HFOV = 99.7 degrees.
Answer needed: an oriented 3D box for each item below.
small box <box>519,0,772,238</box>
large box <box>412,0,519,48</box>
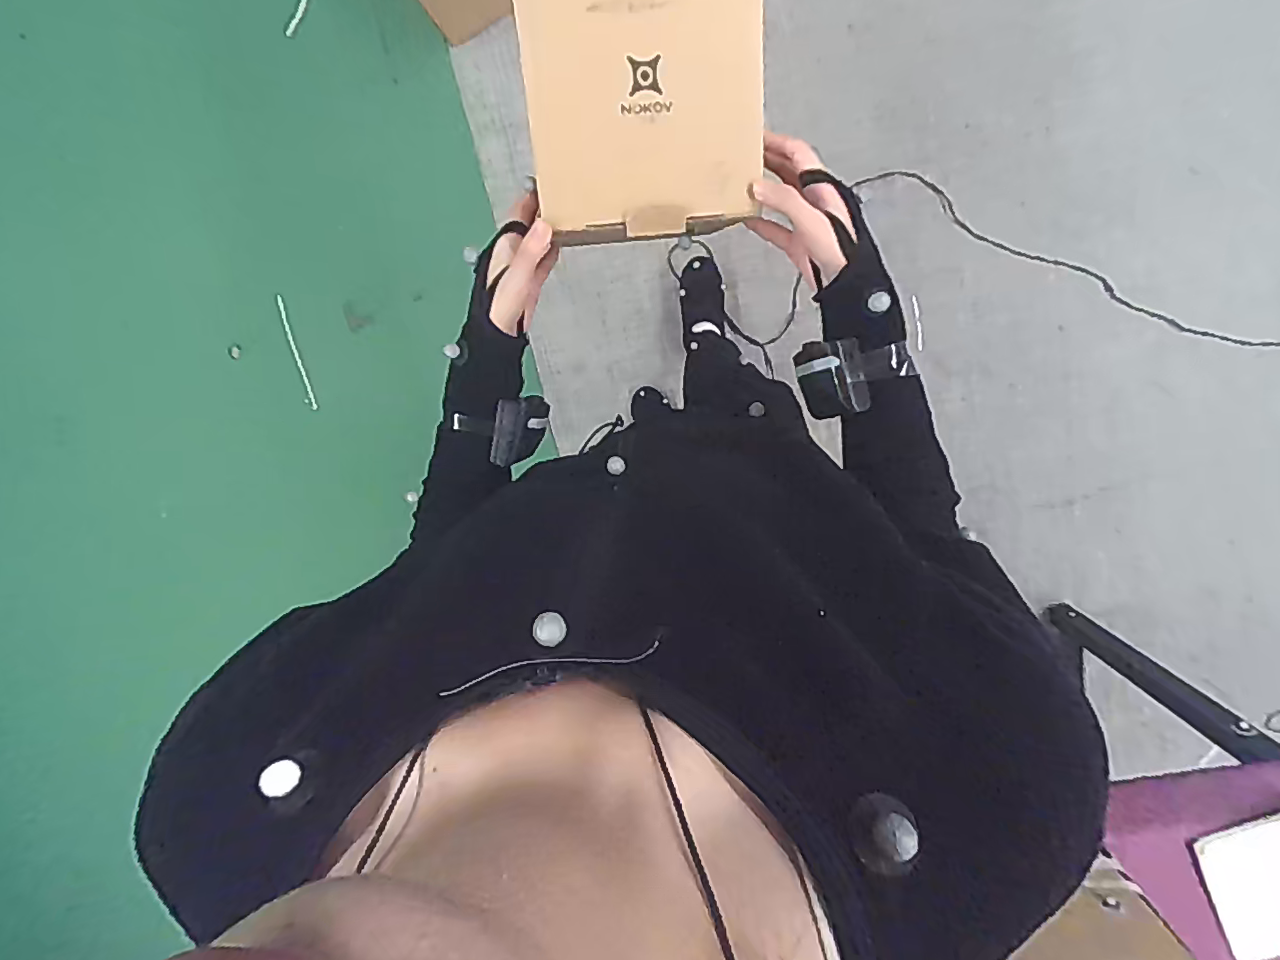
[{"bbox_3d":[-0.001,-0.296,0.435,0.168,0.176,0.179,-7,110,-5],"label":"small box"},{"bbox_3d":[-0.357,-1.217,1.101,0.408,0.320,0.320,-25,99,10],"label":"large box"}]
